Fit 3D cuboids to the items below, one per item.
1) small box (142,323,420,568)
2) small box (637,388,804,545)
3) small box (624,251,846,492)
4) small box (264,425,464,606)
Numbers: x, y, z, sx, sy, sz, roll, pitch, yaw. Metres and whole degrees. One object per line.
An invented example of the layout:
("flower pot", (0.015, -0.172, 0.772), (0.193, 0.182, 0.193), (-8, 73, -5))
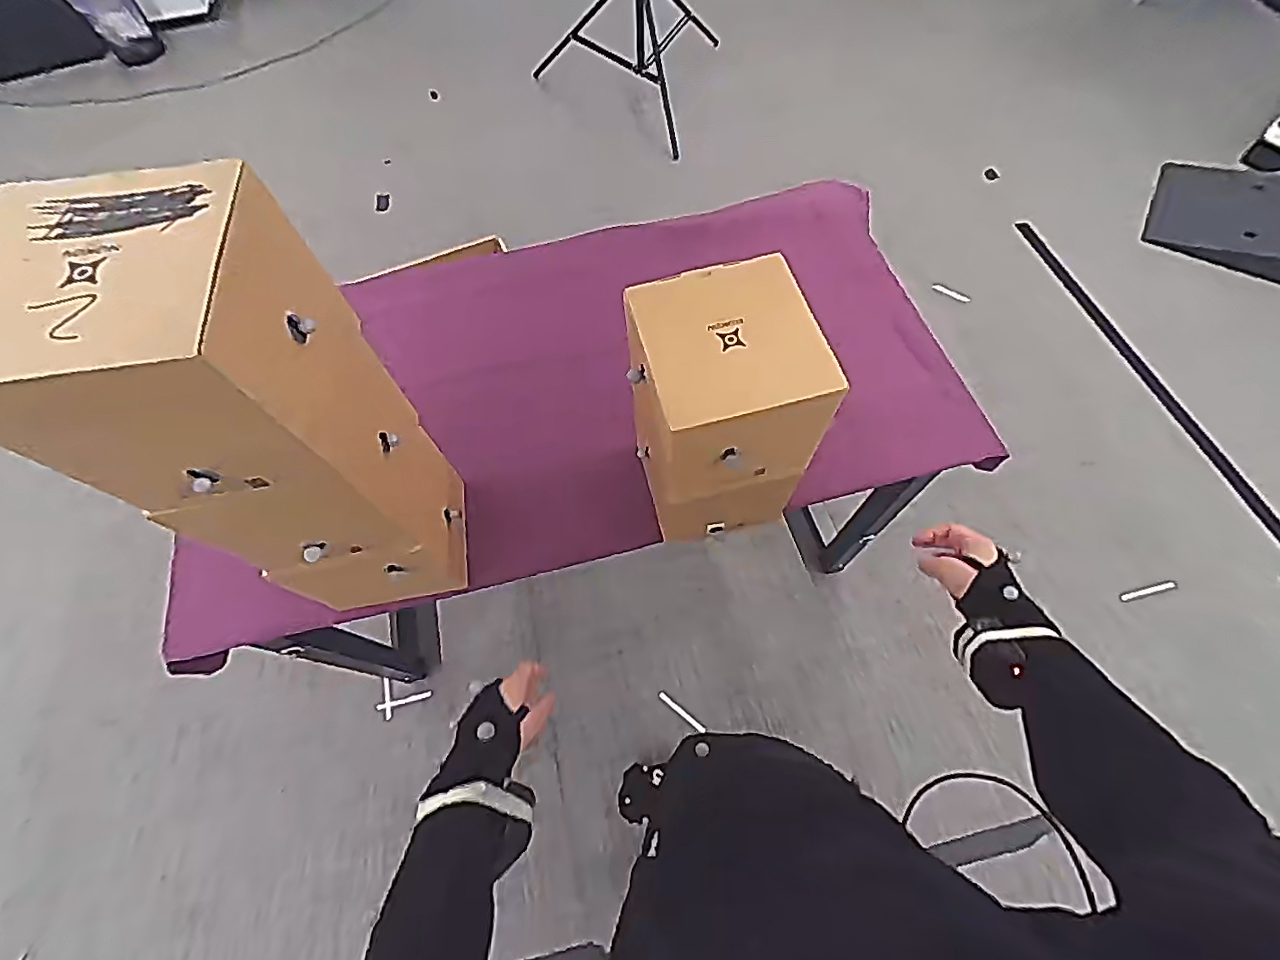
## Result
("small box", (-0.337, -0.027, 0.551), (0.168, 0.176, 0.179), (-10, 65, -3))
("small box", (0.094, -0.034, 0.722), (0.168, 0.176, 0.179), (-14, 66, -3))
("small box", (0.088, -0.101, 0.574), (0.168, 0.176, 0.179), (-15, 64, -3))
("small box", (-0.334, 0.052, 0.695), (0.179, 0.176, 0.168), (-10, 64, -2))
